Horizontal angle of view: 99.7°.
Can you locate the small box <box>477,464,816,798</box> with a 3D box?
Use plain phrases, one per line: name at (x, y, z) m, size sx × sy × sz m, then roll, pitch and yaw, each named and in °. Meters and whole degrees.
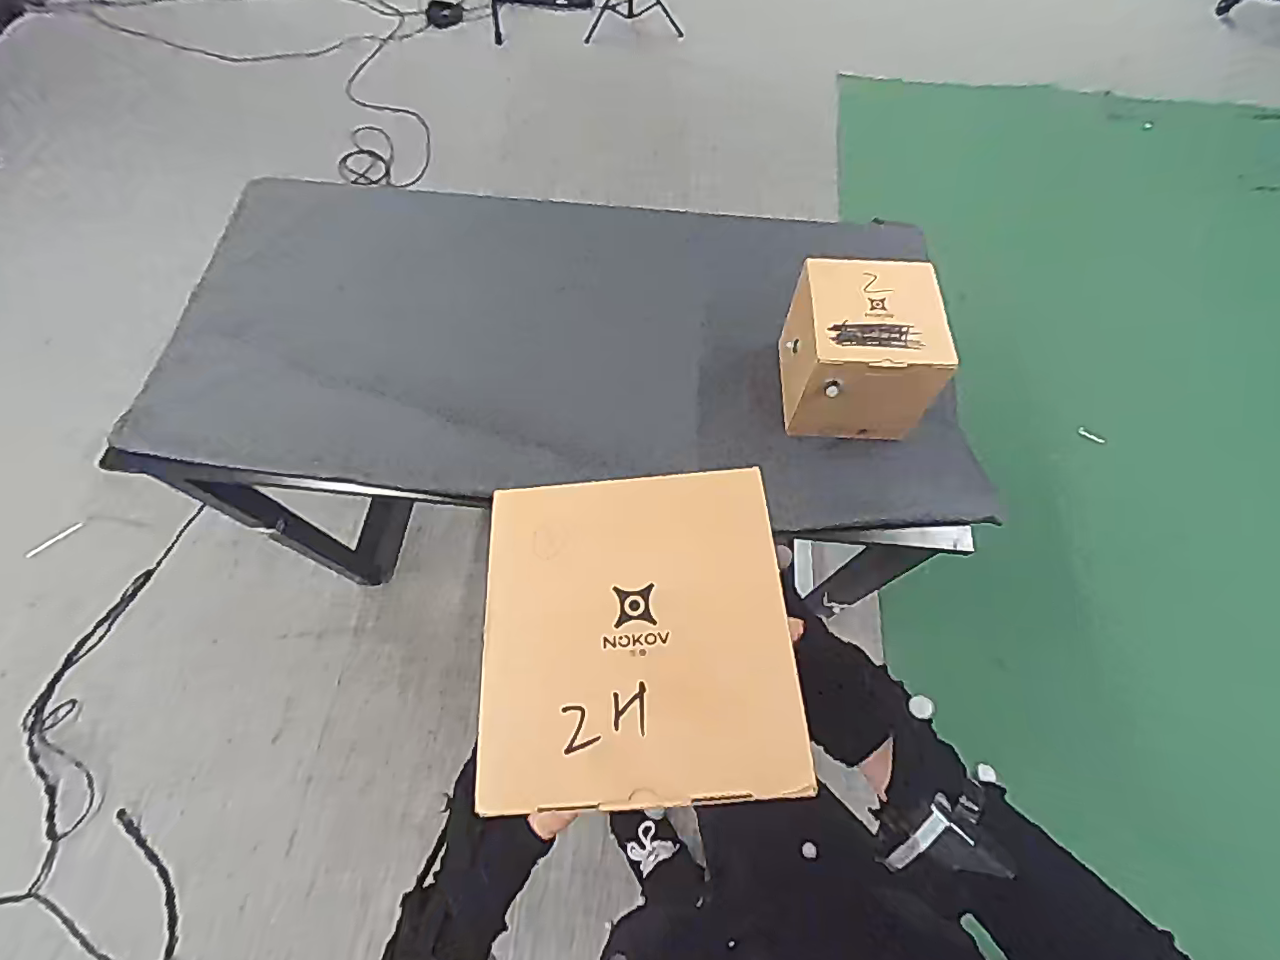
small box at (0.005, 0.108, 0.366) m, size 0.168 × 0.176 × 0.179 m, roll -5°, pitch 63°, yaw 3°
